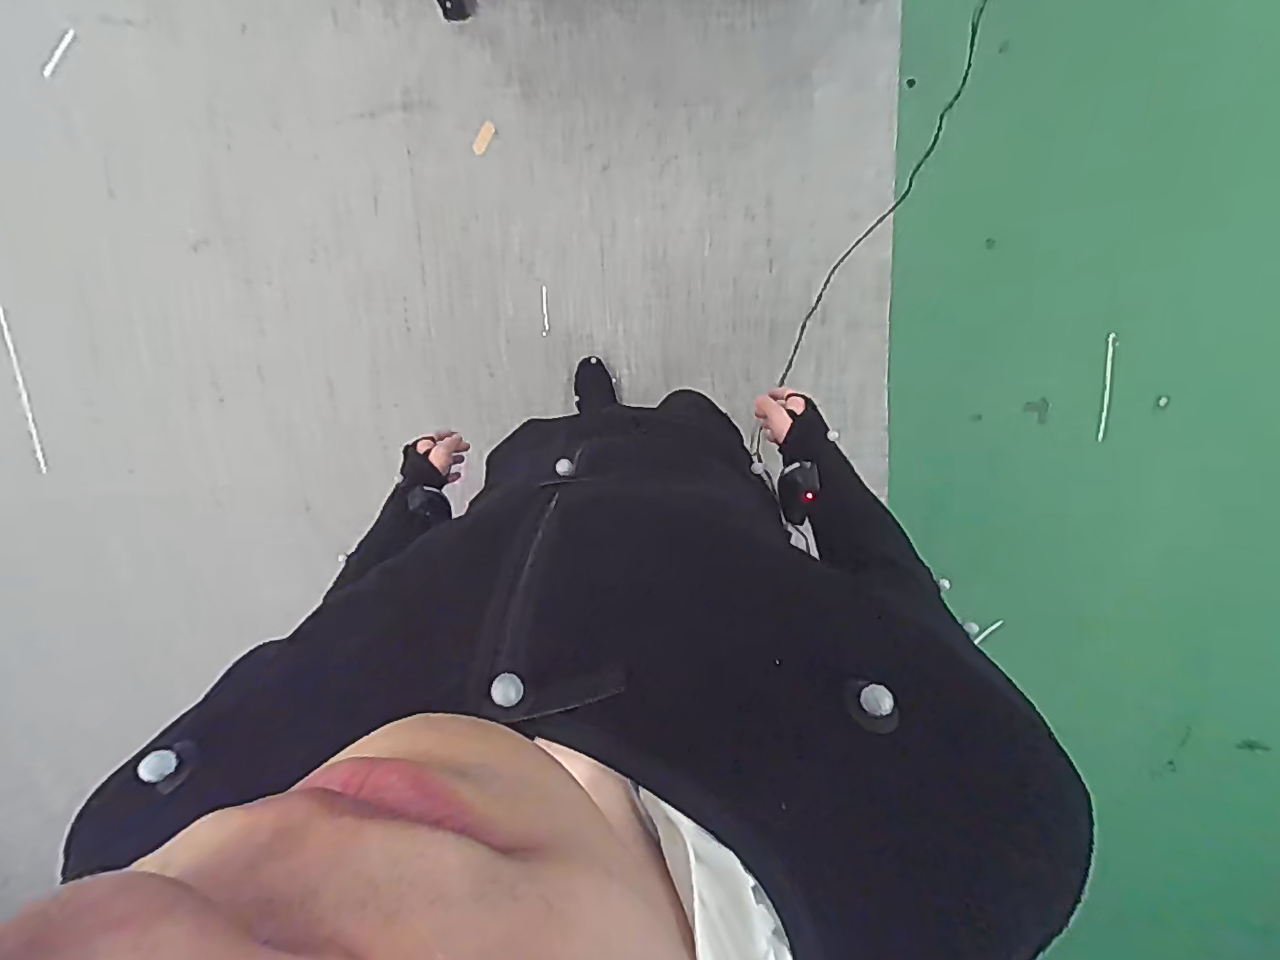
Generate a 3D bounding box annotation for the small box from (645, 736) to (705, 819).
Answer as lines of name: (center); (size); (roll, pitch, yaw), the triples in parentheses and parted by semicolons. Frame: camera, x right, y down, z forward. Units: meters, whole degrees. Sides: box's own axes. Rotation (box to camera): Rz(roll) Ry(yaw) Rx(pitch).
small box: (0.106, 0.936, 1.710); (0.179, 0.176, 0.168); (2, 100, 0)
